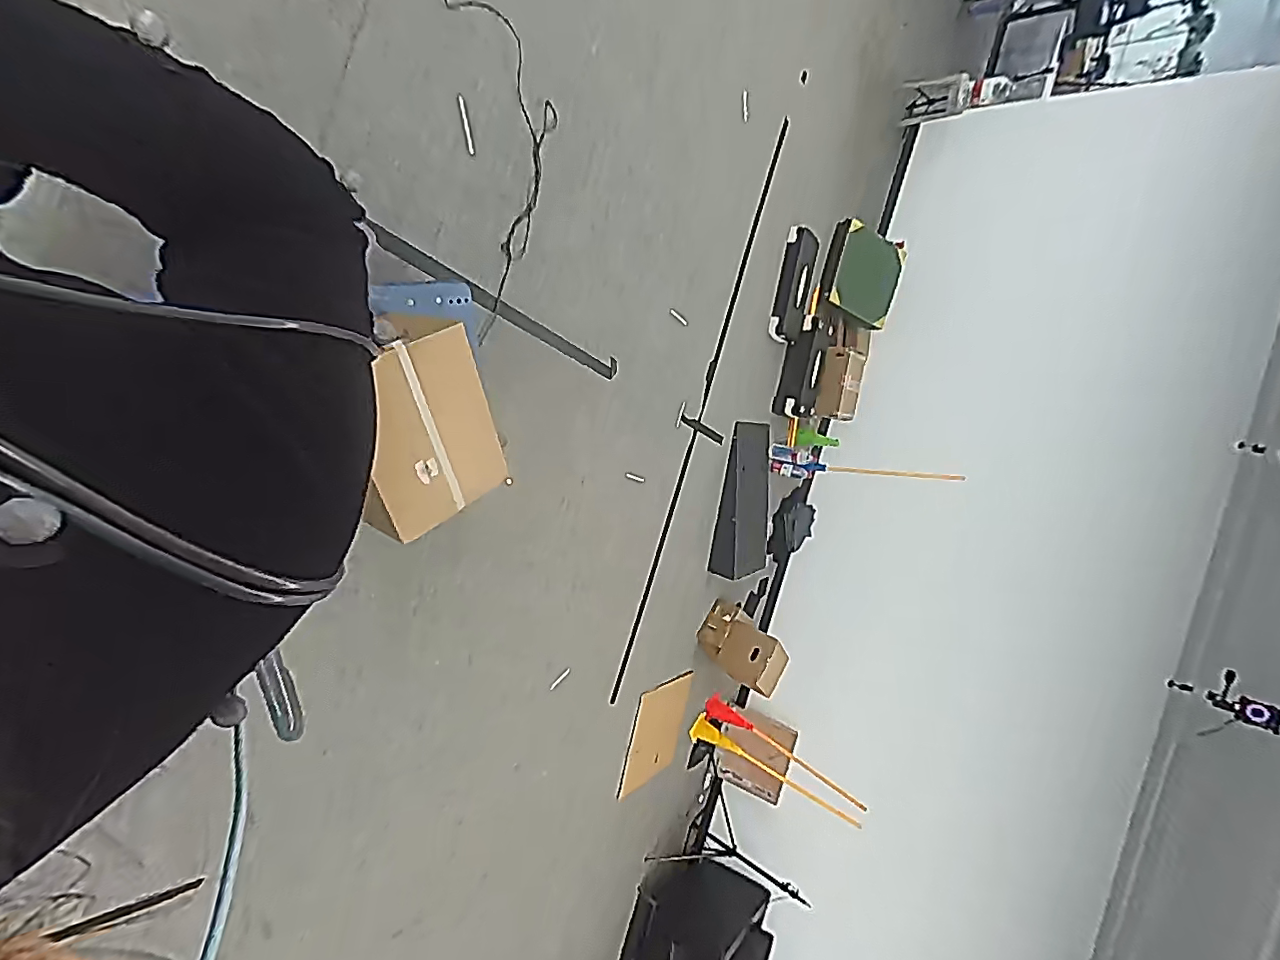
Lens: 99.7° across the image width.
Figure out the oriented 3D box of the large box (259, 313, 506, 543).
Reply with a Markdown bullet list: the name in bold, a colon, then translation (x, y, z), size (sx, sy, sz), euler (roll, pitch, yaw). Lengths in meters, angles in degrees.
- **large box**: translation (-0.574, -0.135, 1.253), size (0.320, 0.320, 0.408), euler (-39, 133, -38)
